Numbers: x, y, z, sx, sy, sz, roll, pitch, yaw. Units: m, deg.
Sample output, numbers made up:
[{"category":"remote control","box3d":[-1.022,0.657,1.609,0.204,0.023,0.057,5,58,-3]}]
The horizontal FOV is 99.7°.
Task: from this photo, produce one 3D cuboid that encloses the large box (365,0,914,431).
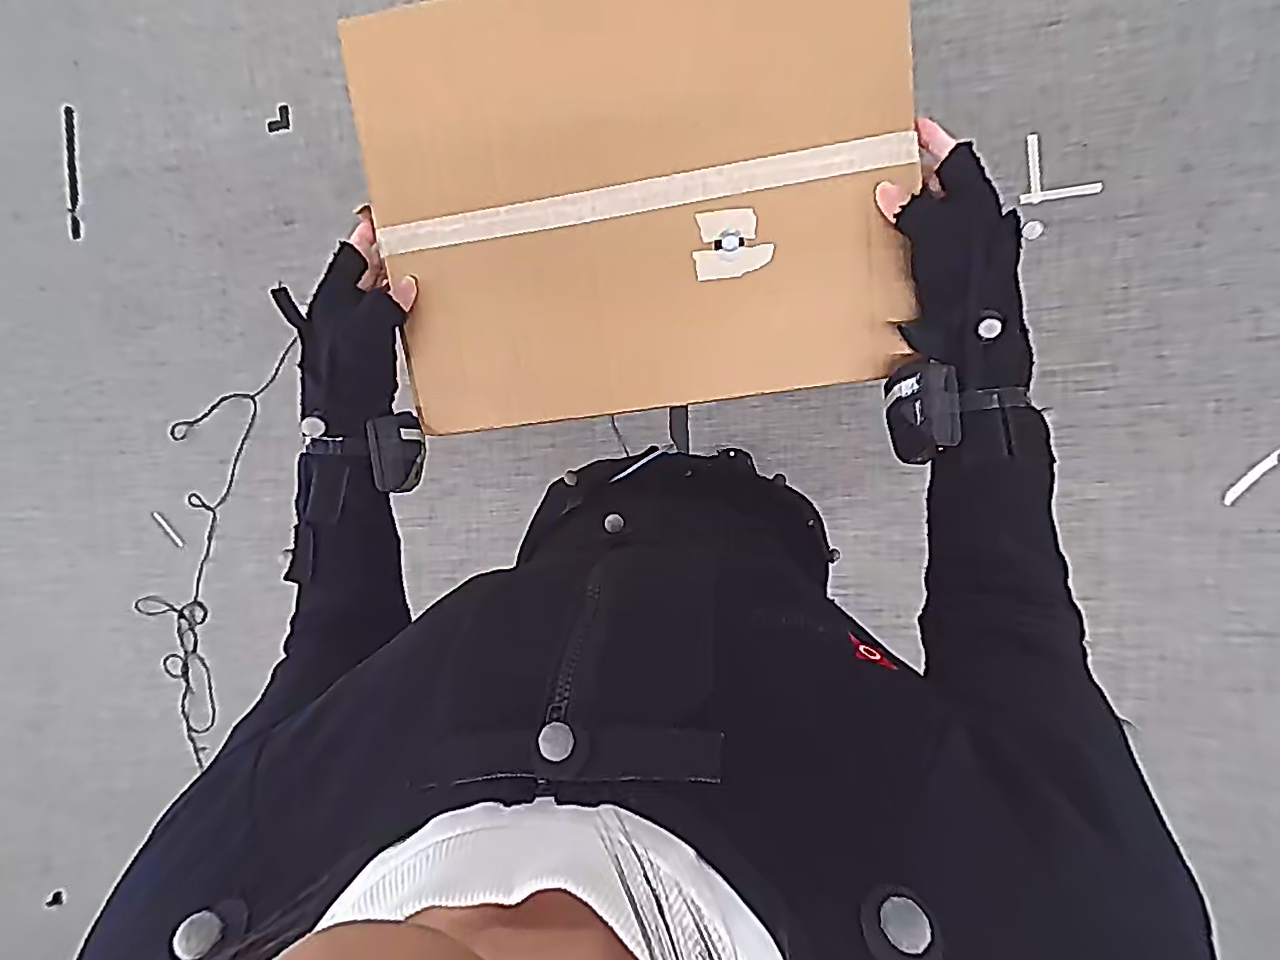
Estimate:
[{"category":"large box","box3d":[0.011,-0.240,0.568,0.408,0.320,0.320,-7,100,6]}]
